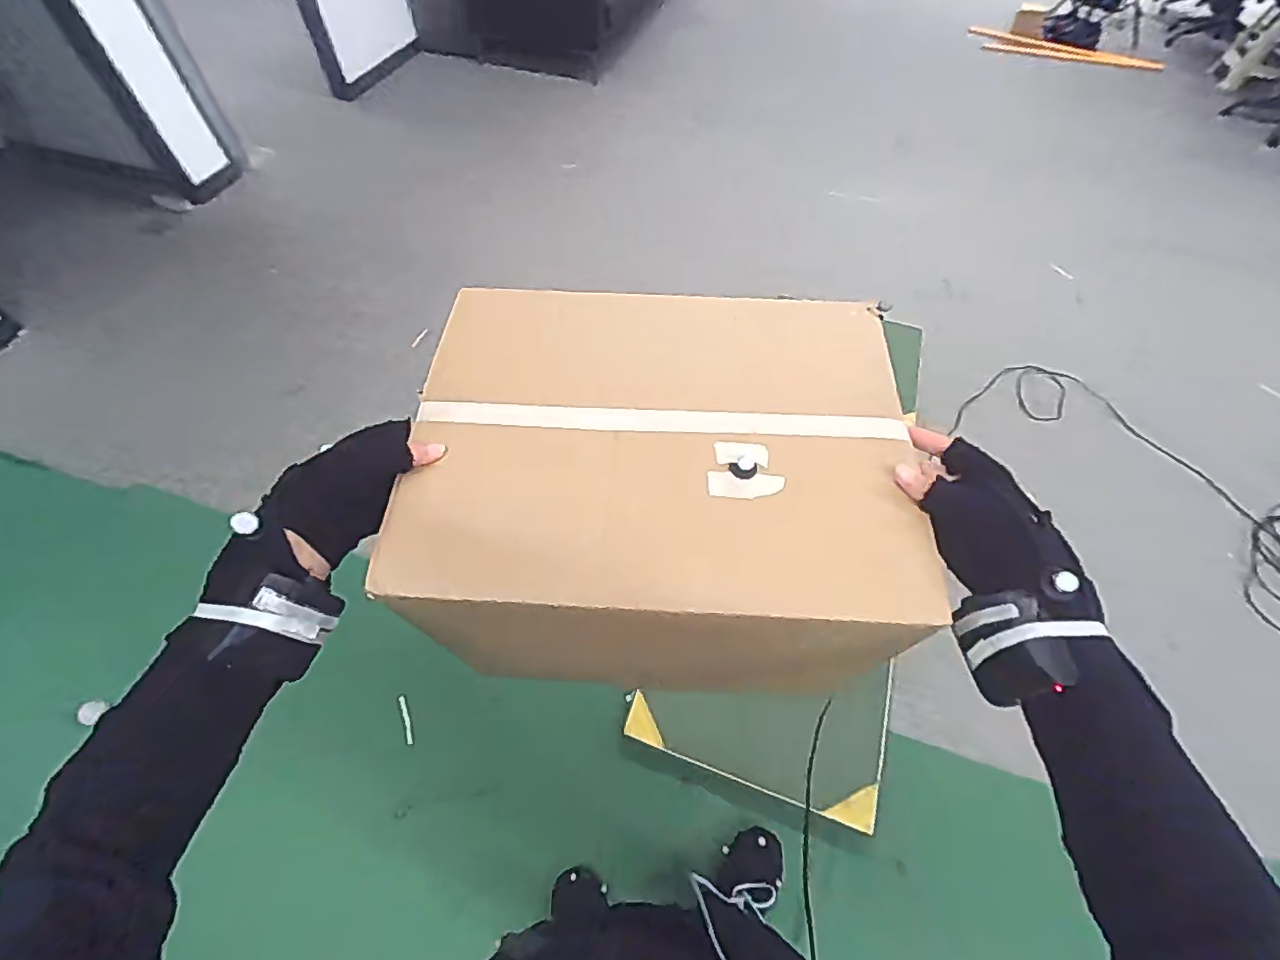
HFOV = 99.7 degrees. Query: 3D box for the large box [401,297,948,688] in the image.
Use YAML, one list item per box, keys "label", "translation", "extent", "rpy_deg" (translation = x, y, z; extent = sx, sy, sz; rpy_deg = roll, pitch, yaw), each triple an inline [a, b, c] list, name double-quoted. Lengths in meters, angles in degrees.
- label: "large box"
  translation: [0.028, 0.031, 0.589]
  extent: [0.408, 0.320, 0.320]
  rpy_deg: [3, 60, 1]
